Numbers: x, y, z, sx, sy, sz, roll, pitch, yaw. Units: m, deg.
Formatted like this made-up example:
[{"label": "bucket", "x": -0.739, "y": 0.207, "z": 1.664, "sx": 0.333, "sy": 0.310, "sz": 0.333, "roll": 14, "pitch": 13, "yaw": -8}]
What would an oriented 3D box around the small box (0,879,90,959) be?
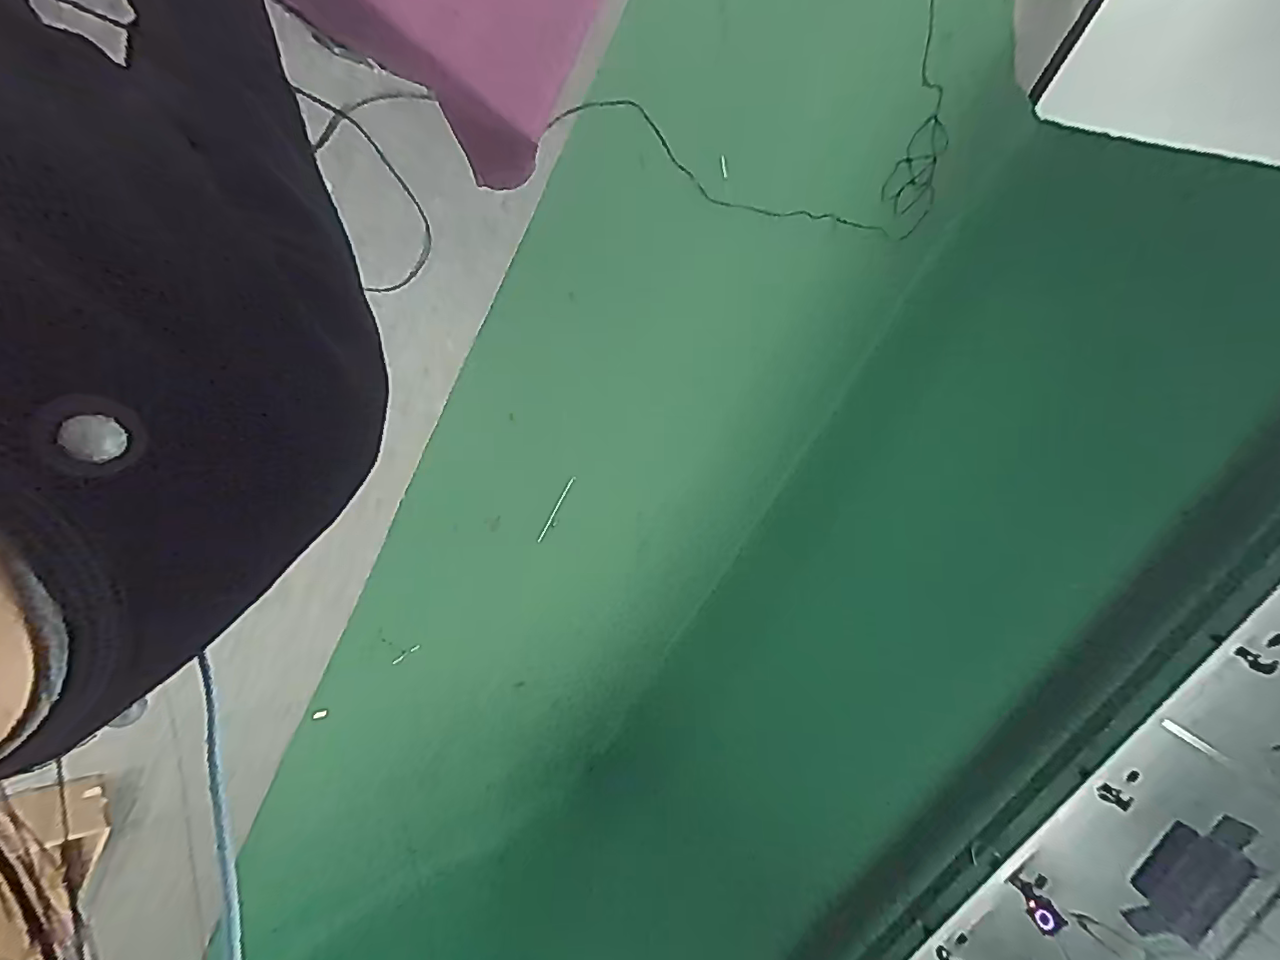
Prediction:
[{"label": "small box", "x": -1.657, "y": 1.261, "z": 1.485, "sx": 0.179, "sy": 0.176, "sz": 0.168, "roll": 5, "pitch": 118, "yaw": -54}]
